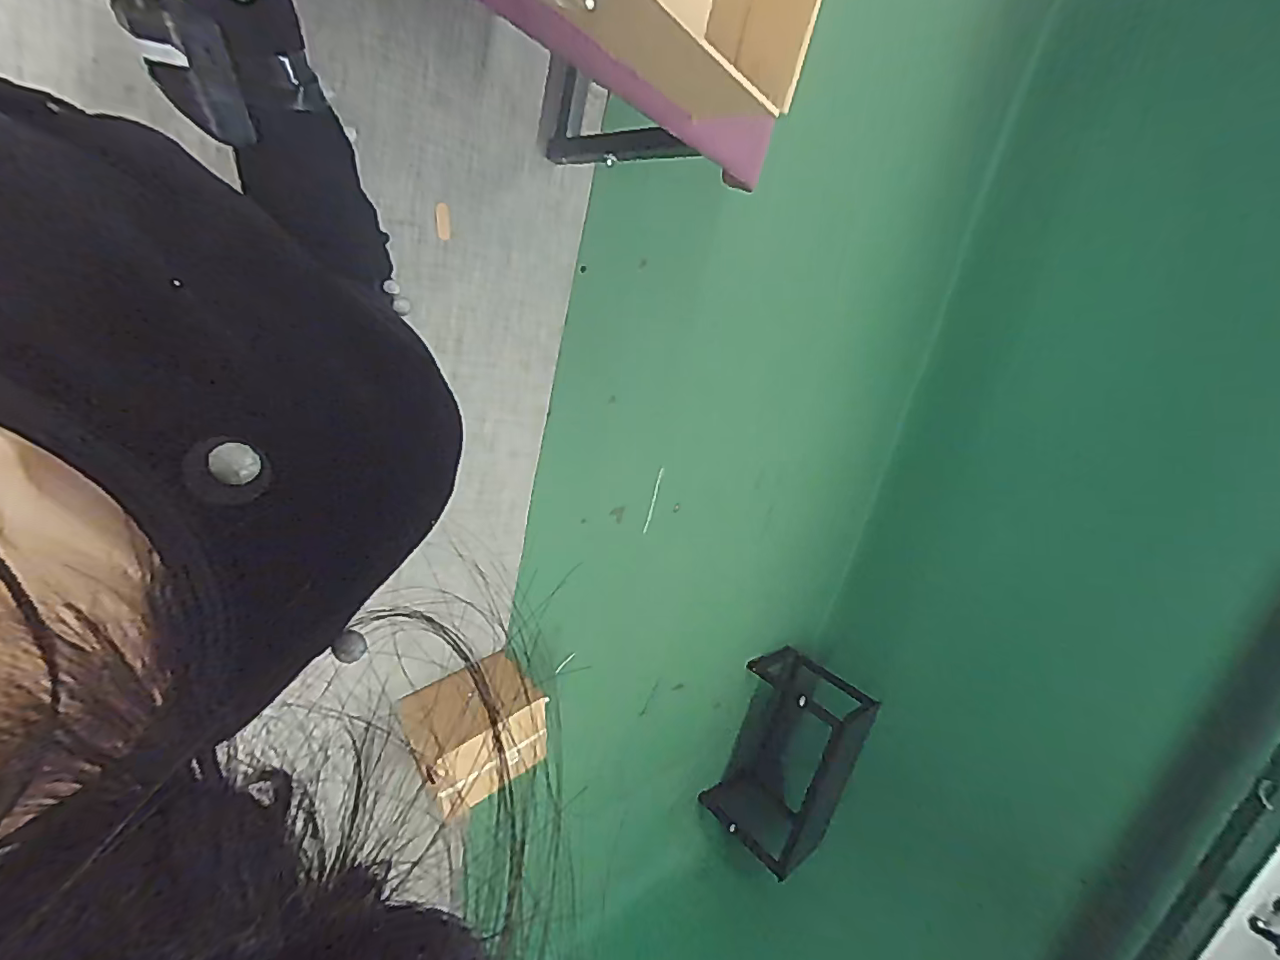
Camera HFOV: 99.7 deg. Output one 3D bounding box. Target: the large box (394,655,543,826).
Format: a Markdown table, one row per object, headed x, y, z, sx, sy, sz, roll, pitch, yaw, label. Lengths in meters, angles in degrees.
| x | y | z | sx | sy | sz | roll | pitch | yaw | label |
| --- | --- | --- | --- | --- | --- | --- | --- | --- | --- |
| -0.605 | 0.909 | 1.942 | 0.408 | 0.320 | 0.320 | -19 | 124 | -40 | large box |
